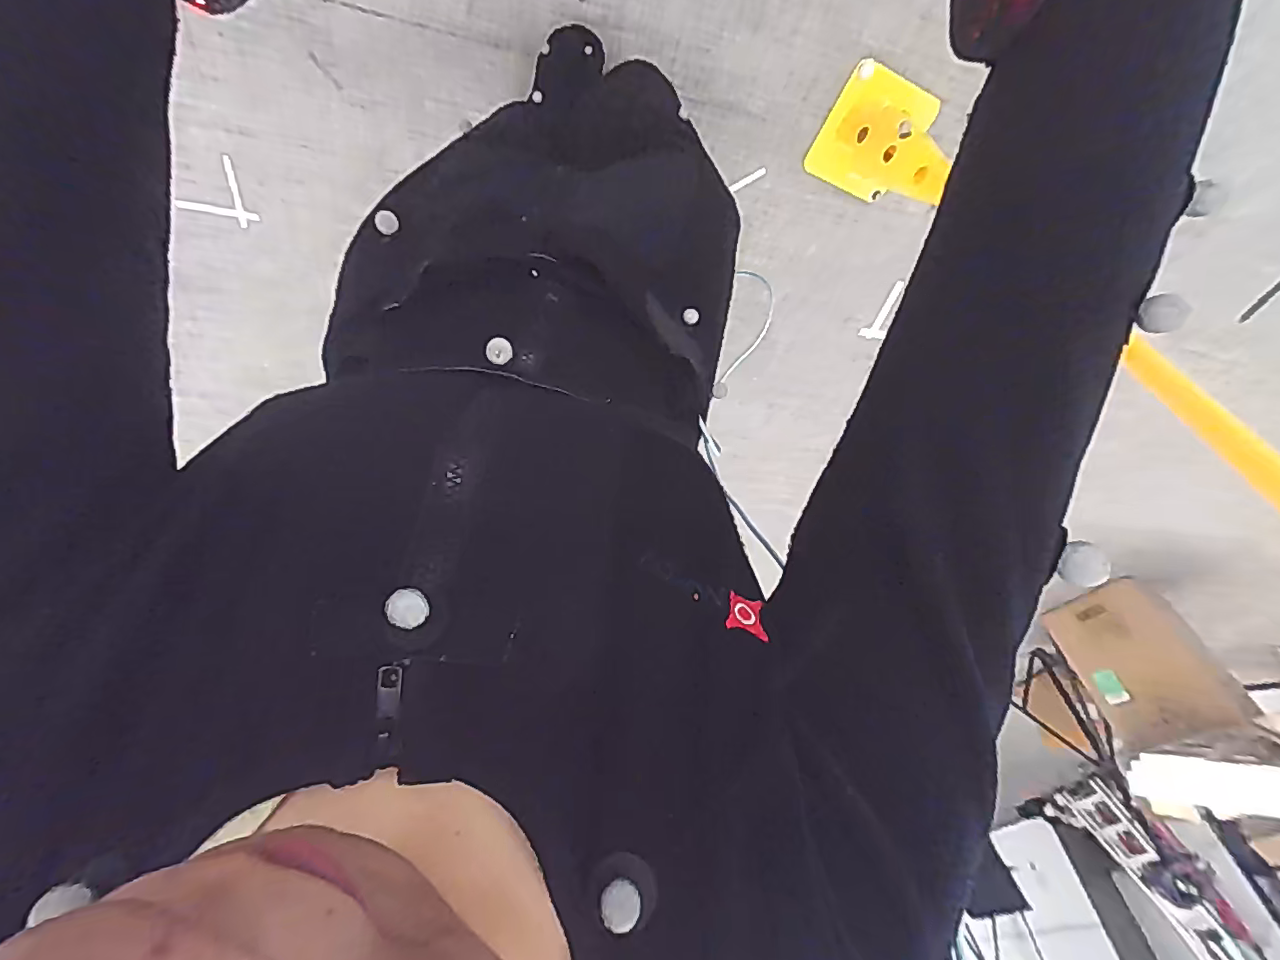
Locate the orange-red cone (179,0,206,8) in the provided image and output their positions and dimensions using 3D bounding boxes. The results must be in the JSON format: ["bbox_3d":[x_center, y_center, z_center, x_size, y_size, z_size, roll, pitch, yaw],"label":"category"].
[{"bbox_3d":[-0.671,-0.720,0.658,0.199,0.360,0.198,-26,133,18],"label":"orange-red cone"}]
